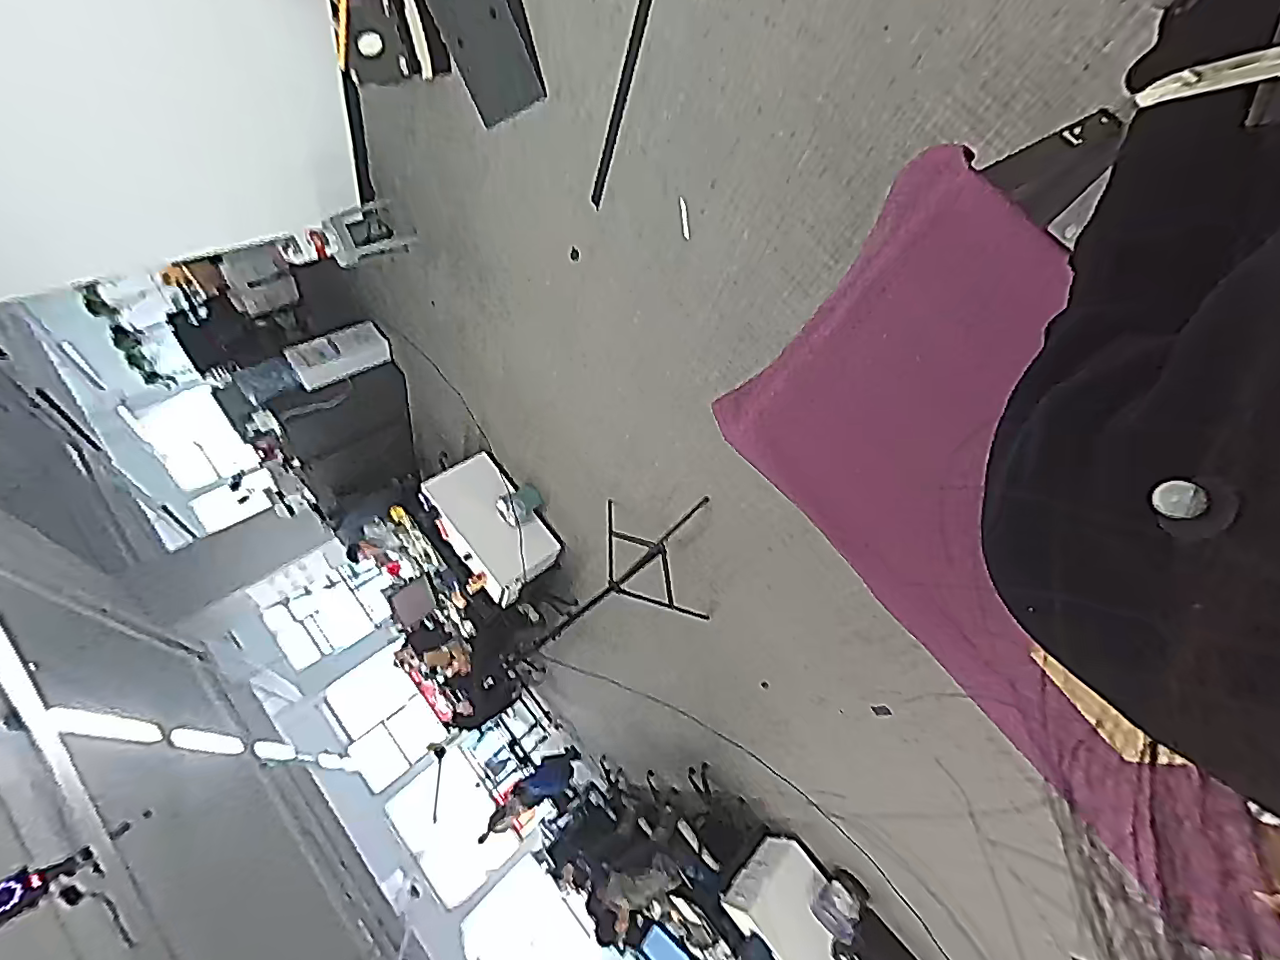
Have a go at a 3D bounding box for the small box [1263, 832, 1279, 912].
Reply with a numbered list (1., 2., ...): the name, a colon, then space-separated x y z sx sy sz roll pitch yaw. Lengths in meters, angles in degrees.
1. small box: 0.865 0.470 0.591 0.179 0.176 0.168 48 150 13
